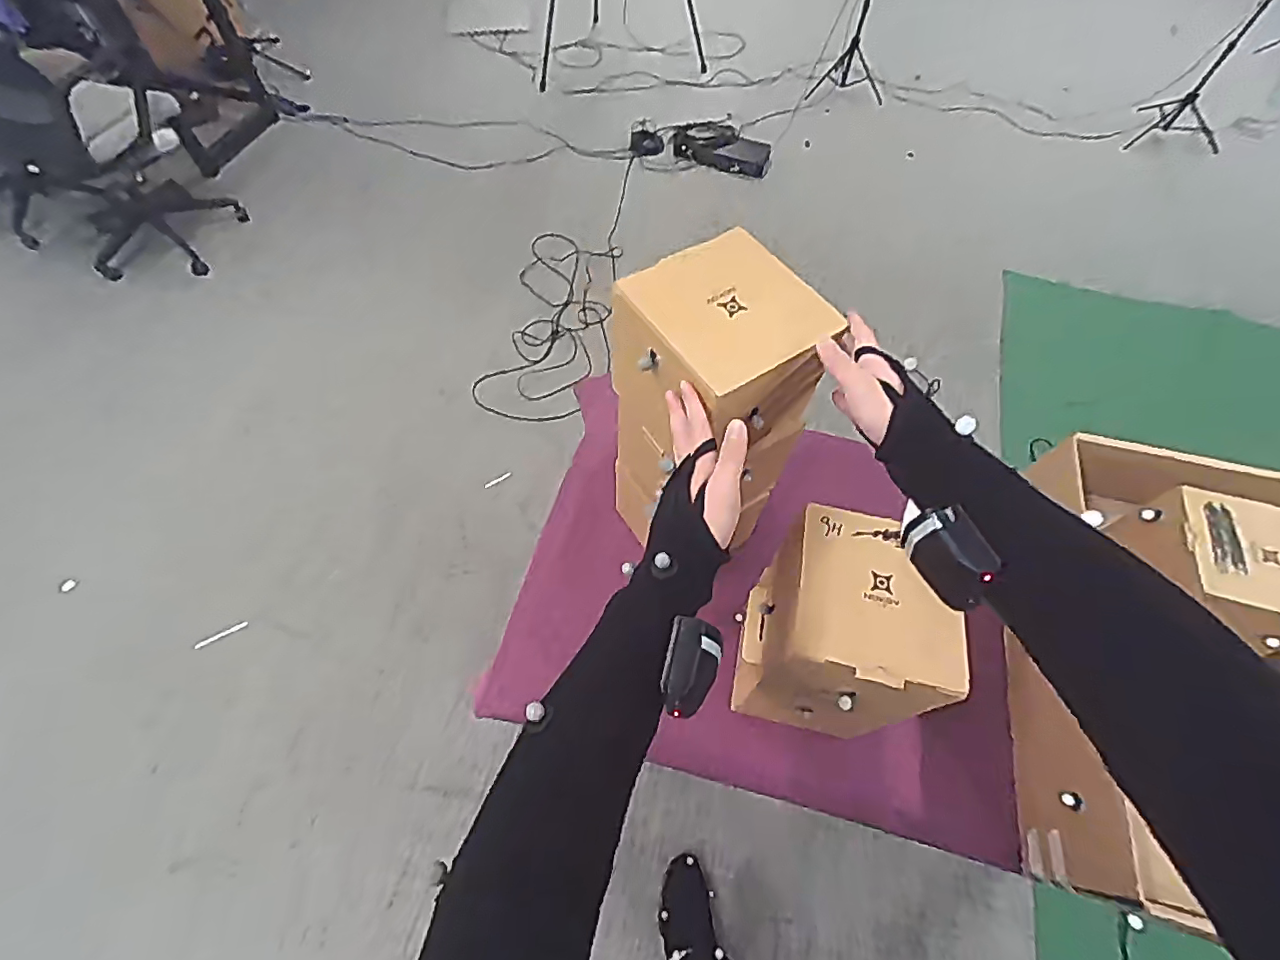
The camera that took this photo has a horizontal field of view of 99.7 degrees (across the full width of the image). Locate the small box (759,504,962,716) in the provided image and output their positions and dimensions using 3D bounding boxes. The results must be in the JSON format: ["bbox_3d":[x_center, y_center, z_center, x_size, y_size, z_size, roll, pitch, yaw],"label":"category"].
[{"bbox_3d":[0.241,0.157,0.623,0.168,0.176,0.179,13,60,5],"label":"small box"}]

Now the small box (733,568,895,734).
[{"bbox_3d":[0.235,0.246,0.760,0.179,0.176,0.168,12,59,5],"label":"small box"}]

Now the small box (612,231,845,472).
[{"bbox_3d":[0.084,-0.131,0.602,0.168,0.176,0.179,-30,66,-17],"label":"small box"}]

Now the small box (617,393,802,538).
[{"bbox_3d":[0.084,-0.047,0.739,0.179,0.176,0.168,-28,66,-17],"label":"small box"}]

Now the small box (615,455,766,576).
[{"bbox_3d":[0.073,0.037,0.878,0.168,0.176,0.179,-28,65,-18],"label":"small box"}]
